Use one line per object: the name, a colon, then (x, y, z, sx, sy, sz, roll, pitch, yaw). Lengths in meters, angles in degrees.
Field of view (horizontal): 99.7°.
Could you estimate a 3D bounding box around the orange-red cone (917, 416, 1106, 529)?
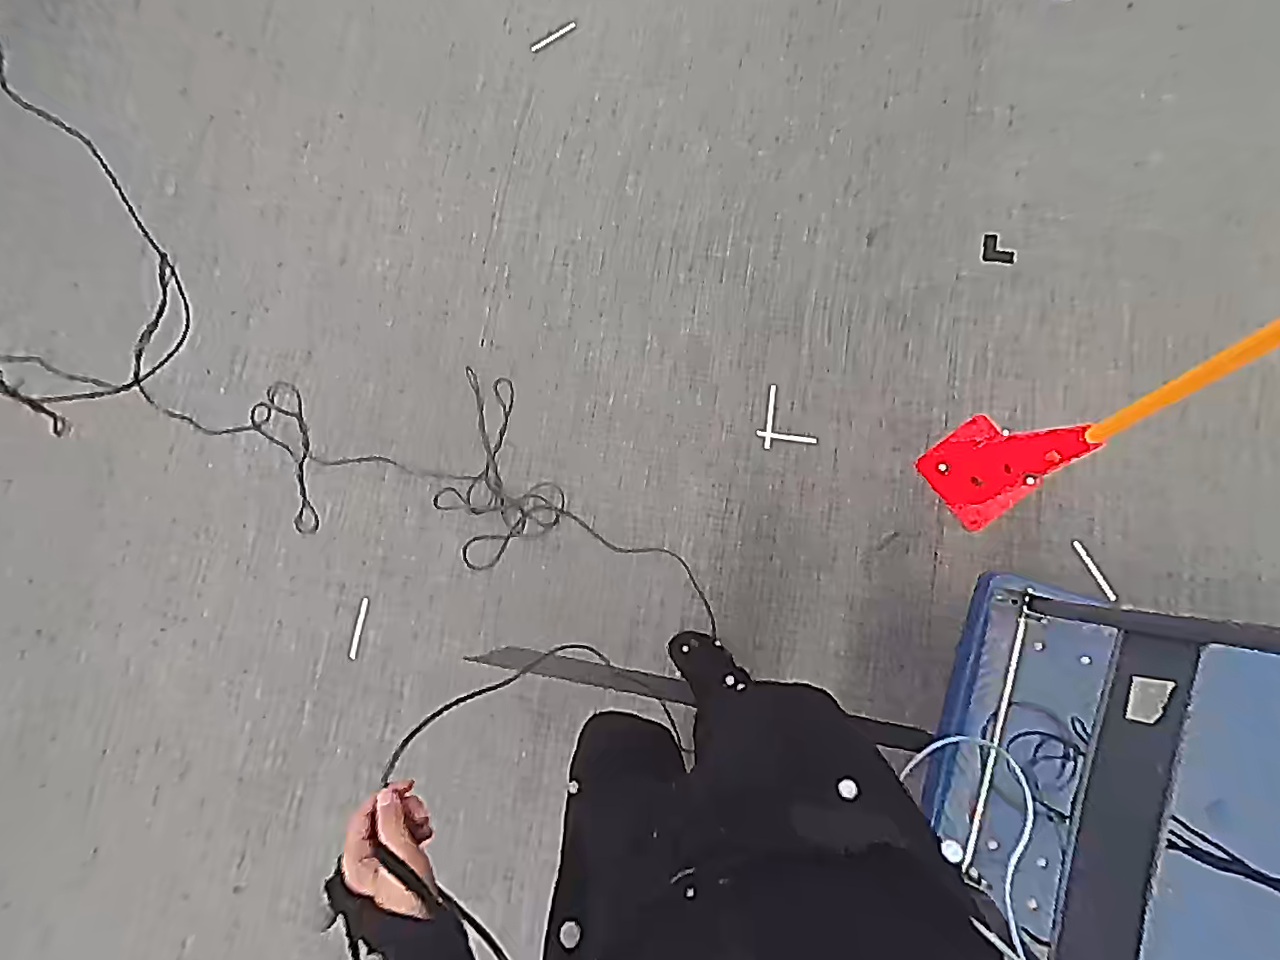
orange-red cone: (0.725, -0.040, 1.017, 0.198, 0.360, 0.199, -36, 81, 0)
